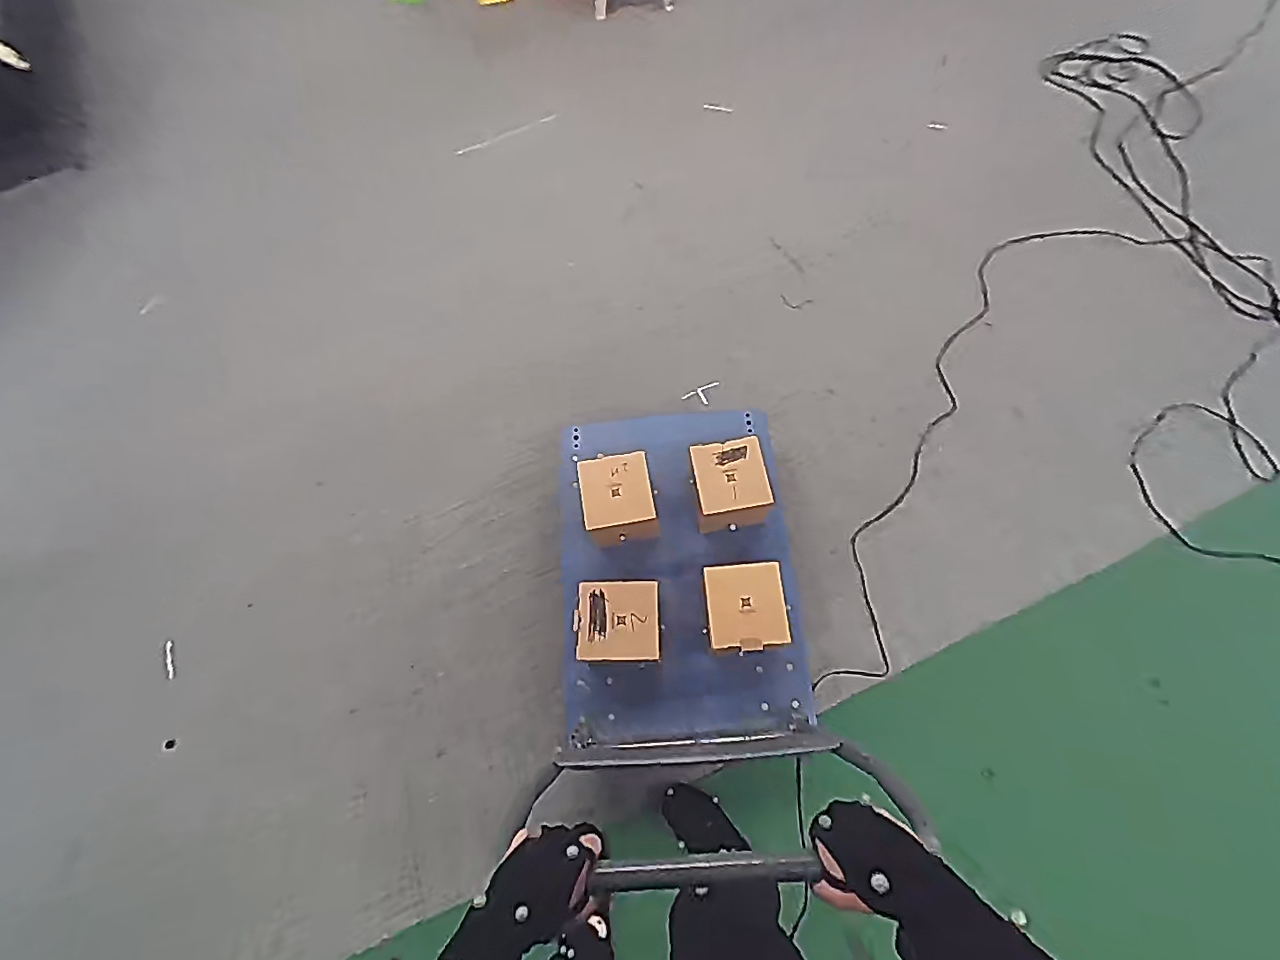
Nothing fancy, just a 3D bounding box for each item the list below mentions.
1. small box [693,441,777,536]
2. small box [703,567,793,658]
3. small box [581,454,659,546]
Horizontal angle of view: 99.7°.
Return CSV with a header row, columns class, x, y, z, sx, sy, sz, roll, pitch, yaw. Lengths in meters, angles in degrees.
class,x,y,z,sx,sy,sz,roll,pitch,yaw
small box,0.224,0.025,1.329,0.168,0.176,0.179,-9,69,1
small box,0.235,0.303,1.221,0.168,0.176,0.179,-4,69,2
small box,-0.045,0.057,1.332,0.168,0.176,0.179,-9,69,-1
